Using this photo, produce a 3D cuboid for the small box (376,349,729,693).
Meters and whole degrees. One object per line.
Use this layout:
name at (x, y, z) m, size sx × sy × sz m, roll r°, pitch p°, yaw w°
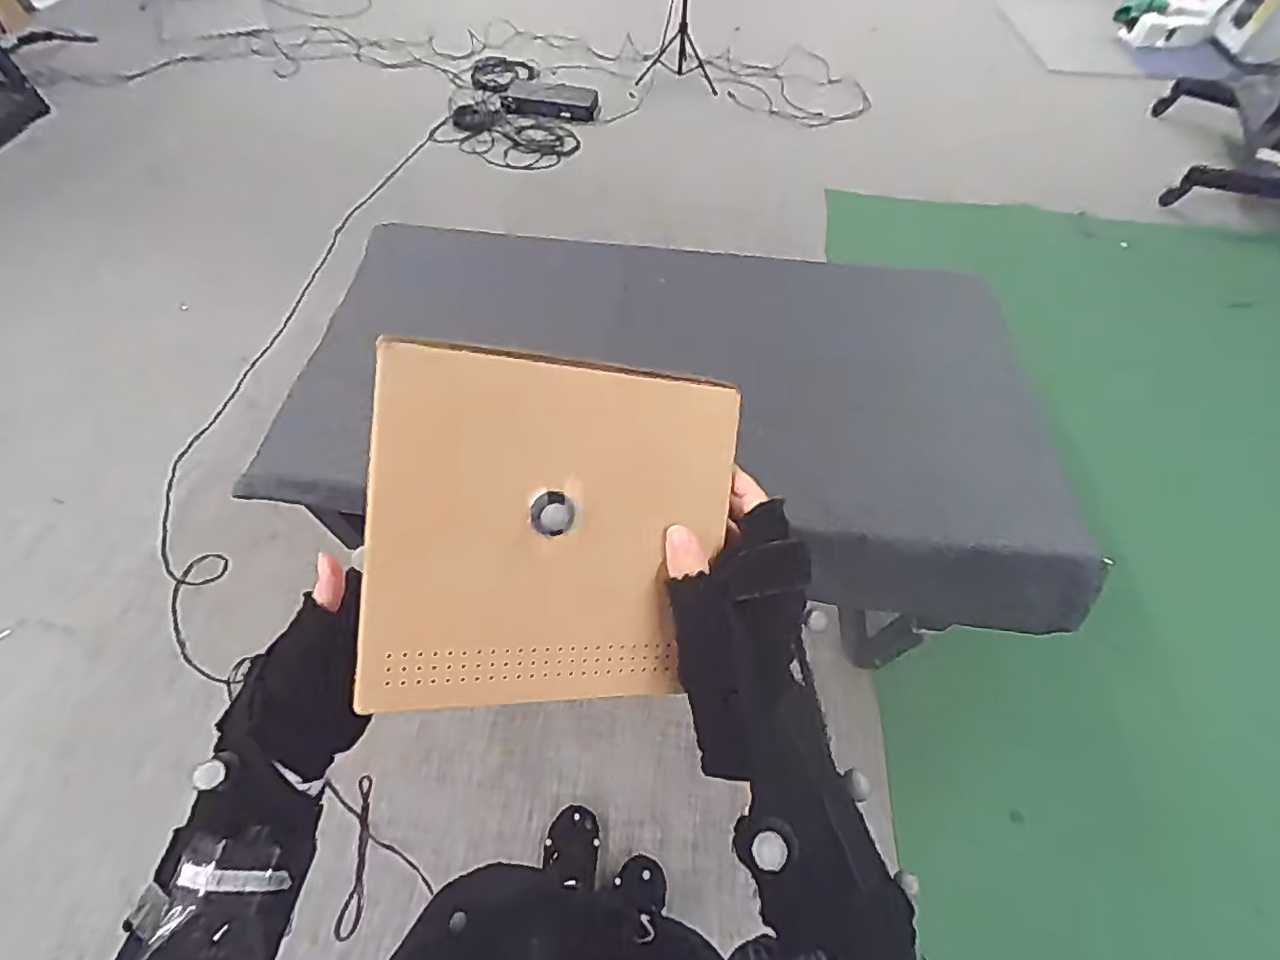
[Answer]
small box at (-0.063, 0.022, 0.353) m, size 0.179 × 0.168 × 0.176 m, roll 3°, pitch 92°, yaw -20°
